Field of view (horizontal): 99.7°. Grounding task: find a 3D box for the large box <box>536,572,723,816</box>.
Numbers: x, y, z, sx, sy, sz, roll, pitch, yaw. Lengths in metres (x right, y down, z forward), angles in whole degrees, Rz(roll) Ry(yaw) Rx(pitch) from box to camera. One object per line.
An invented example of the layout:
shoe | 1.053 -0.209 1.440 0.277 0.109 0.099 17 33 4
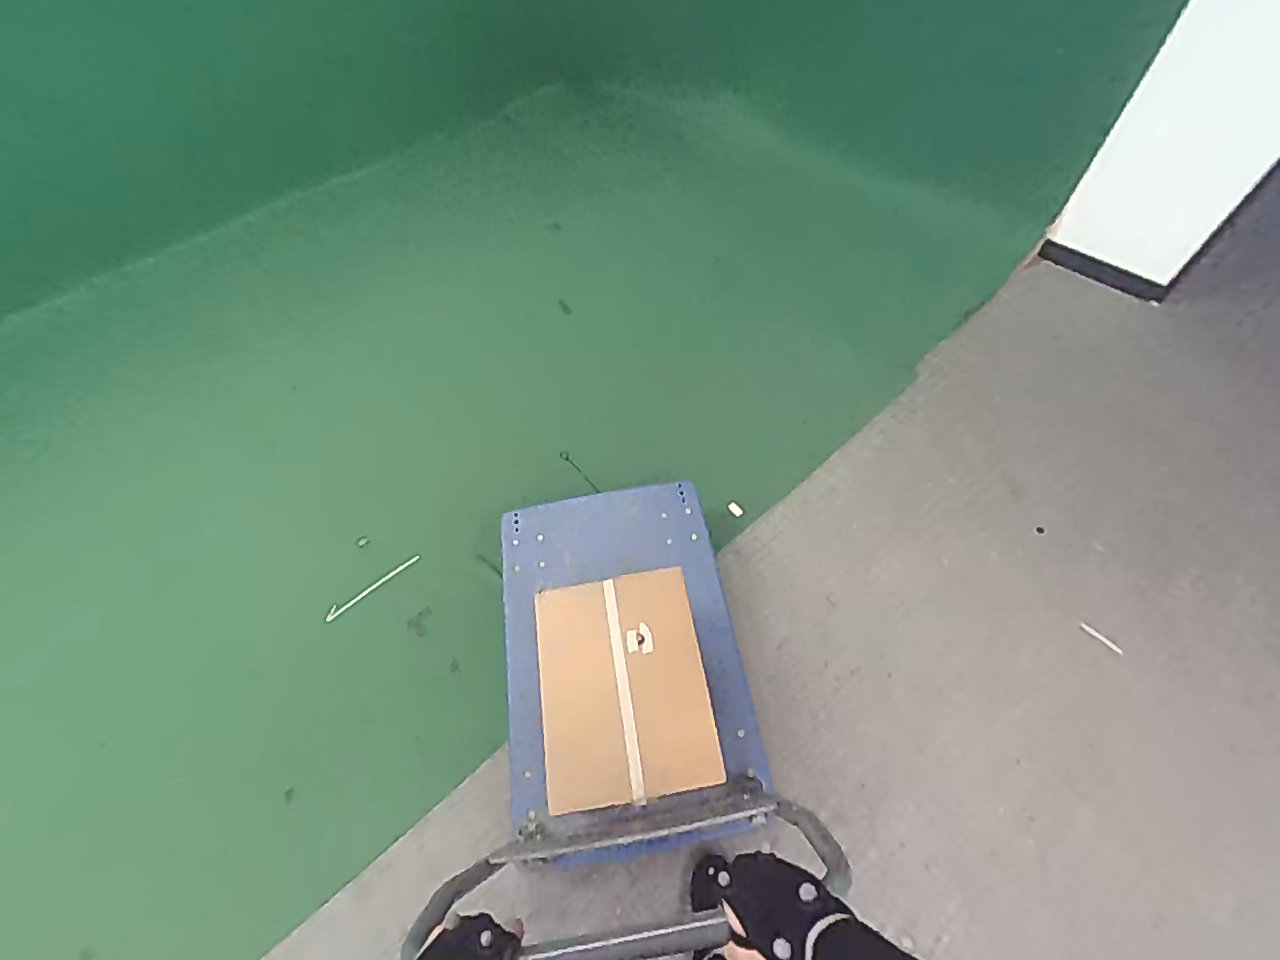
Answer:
large box | -0.024 0.464 1.171 0.320 0.320 0.408 -10 60 -2
